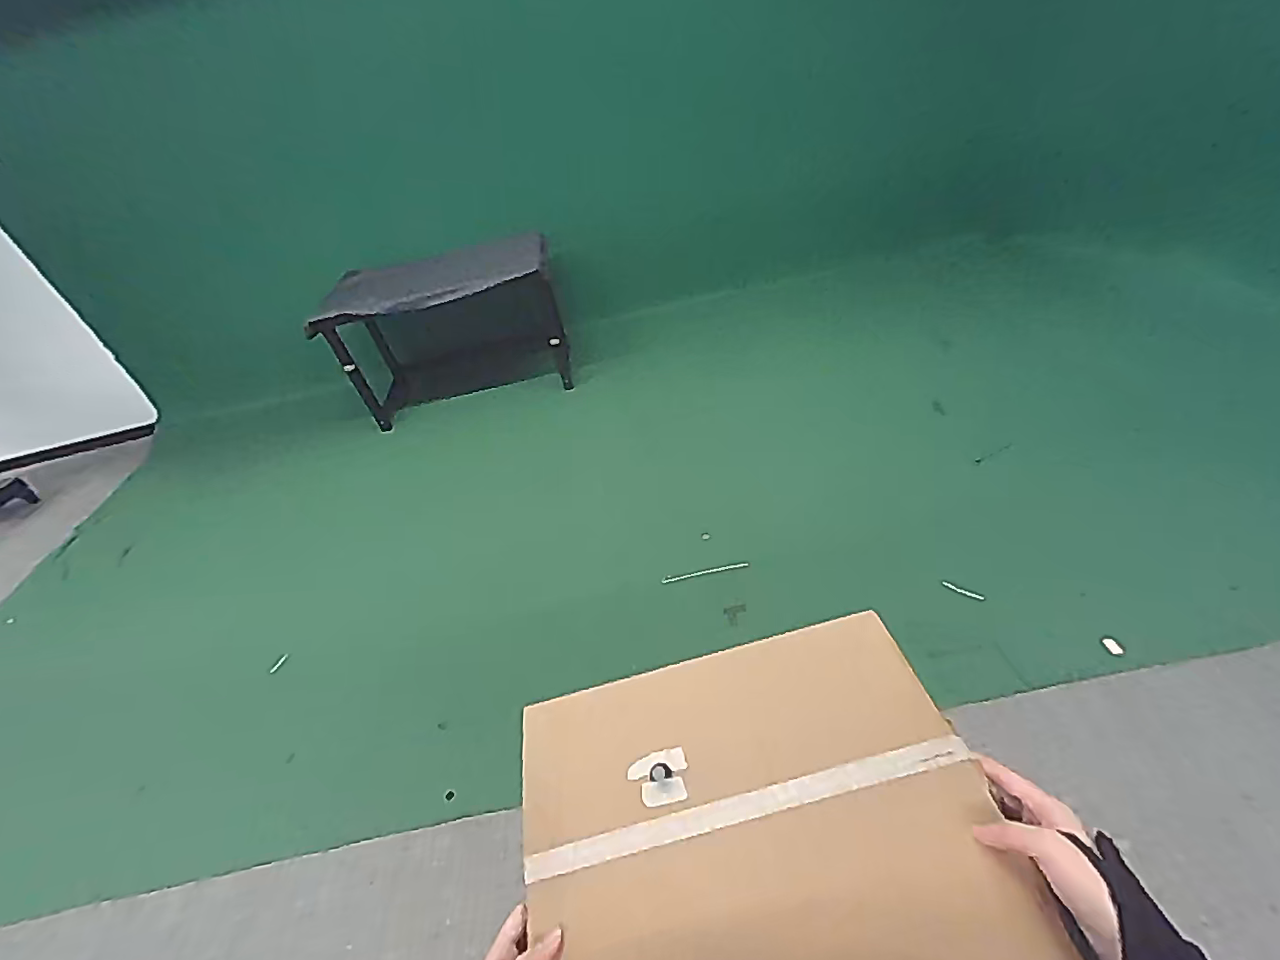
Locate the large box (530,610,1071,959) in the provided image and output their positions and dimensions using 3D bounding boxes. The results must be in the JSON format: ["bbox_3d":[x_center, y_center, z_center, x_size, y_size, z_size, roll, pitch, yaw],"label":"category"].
[{"bbox_3d":[0.129,0.406,0.593,0.408,0.320,0.320,-18,40,1],"label":"large box"}]
